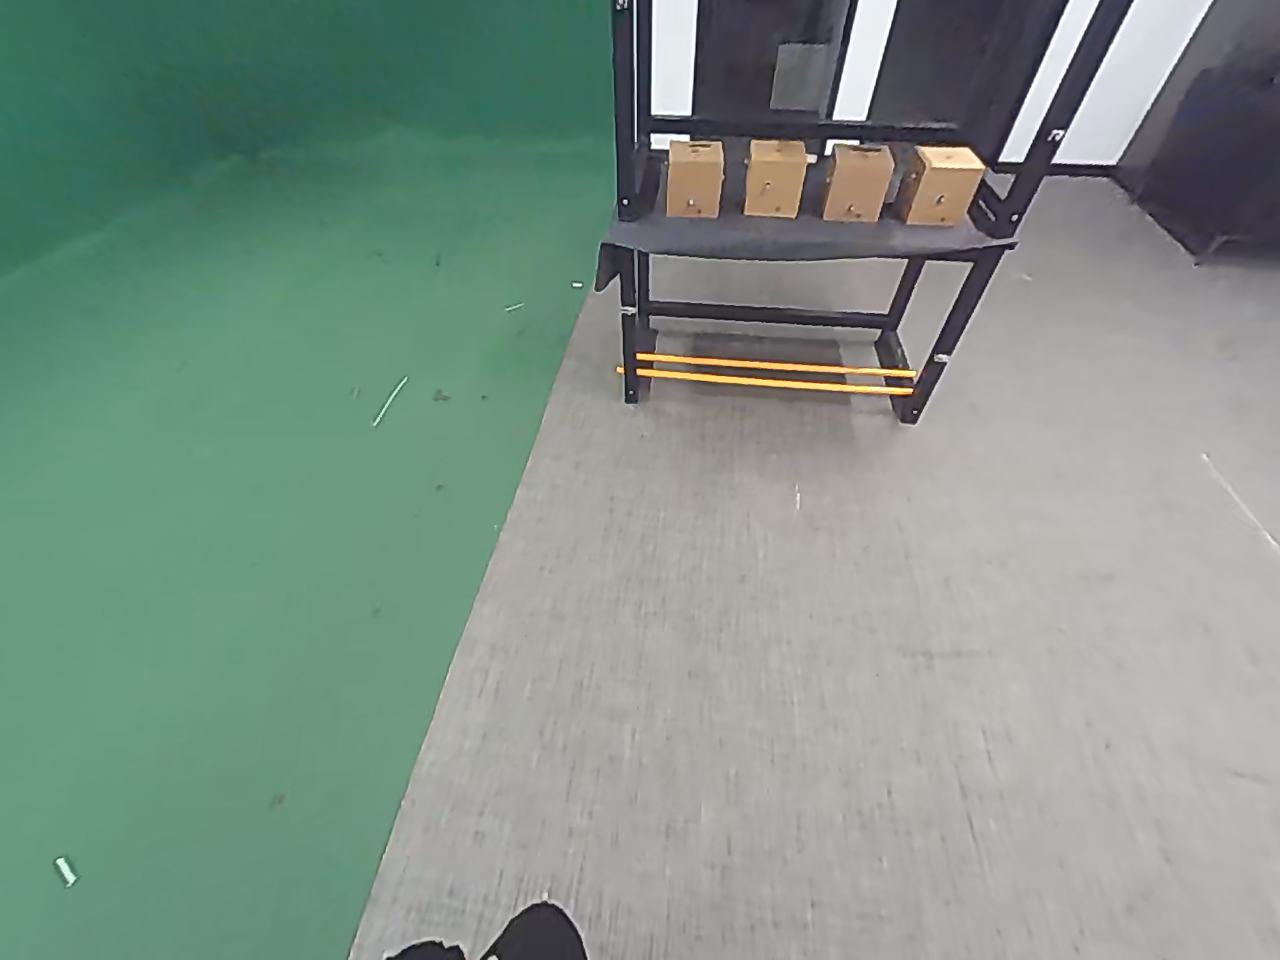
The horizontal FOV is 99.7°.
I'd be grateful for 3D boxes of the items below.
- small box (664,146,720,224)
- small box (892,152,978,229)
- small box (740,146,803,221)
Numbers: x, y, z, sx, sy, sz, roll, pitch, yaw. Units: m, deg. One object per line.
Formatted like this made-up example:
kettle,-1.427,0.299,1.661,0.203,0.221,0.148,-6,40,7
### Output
small box,0.162,-0.939,1.721,0.168,0.176,0.179,2,49,2
small box,0.904,-0.897,1.675,0.168,0.176,0.179,4,48,4
small box,0.416,-0.945,1.727,0.168,0.176,0.179,5,48,5
